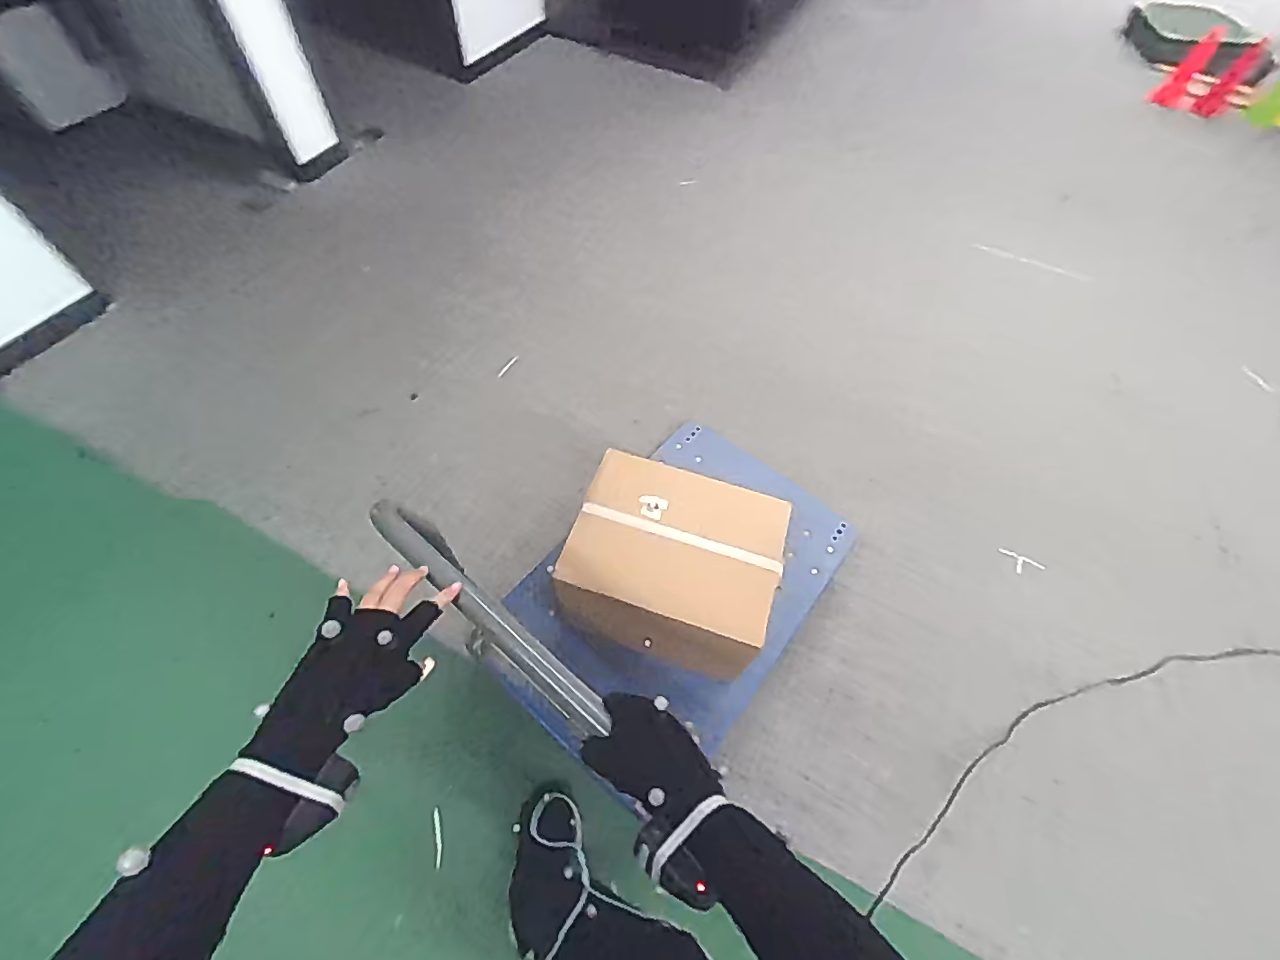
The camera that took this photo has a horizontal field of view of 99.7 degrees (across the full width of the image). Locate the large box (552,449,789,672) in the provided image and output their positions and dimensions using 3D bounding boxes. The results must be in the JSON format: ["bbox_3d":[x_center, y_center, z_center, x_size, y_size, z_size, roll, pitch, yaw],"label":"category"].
[{"bbox_3d":[0.069,0.184,1.180,0.408,0.320,0.320,17,60,9],"label":"large box"}]
